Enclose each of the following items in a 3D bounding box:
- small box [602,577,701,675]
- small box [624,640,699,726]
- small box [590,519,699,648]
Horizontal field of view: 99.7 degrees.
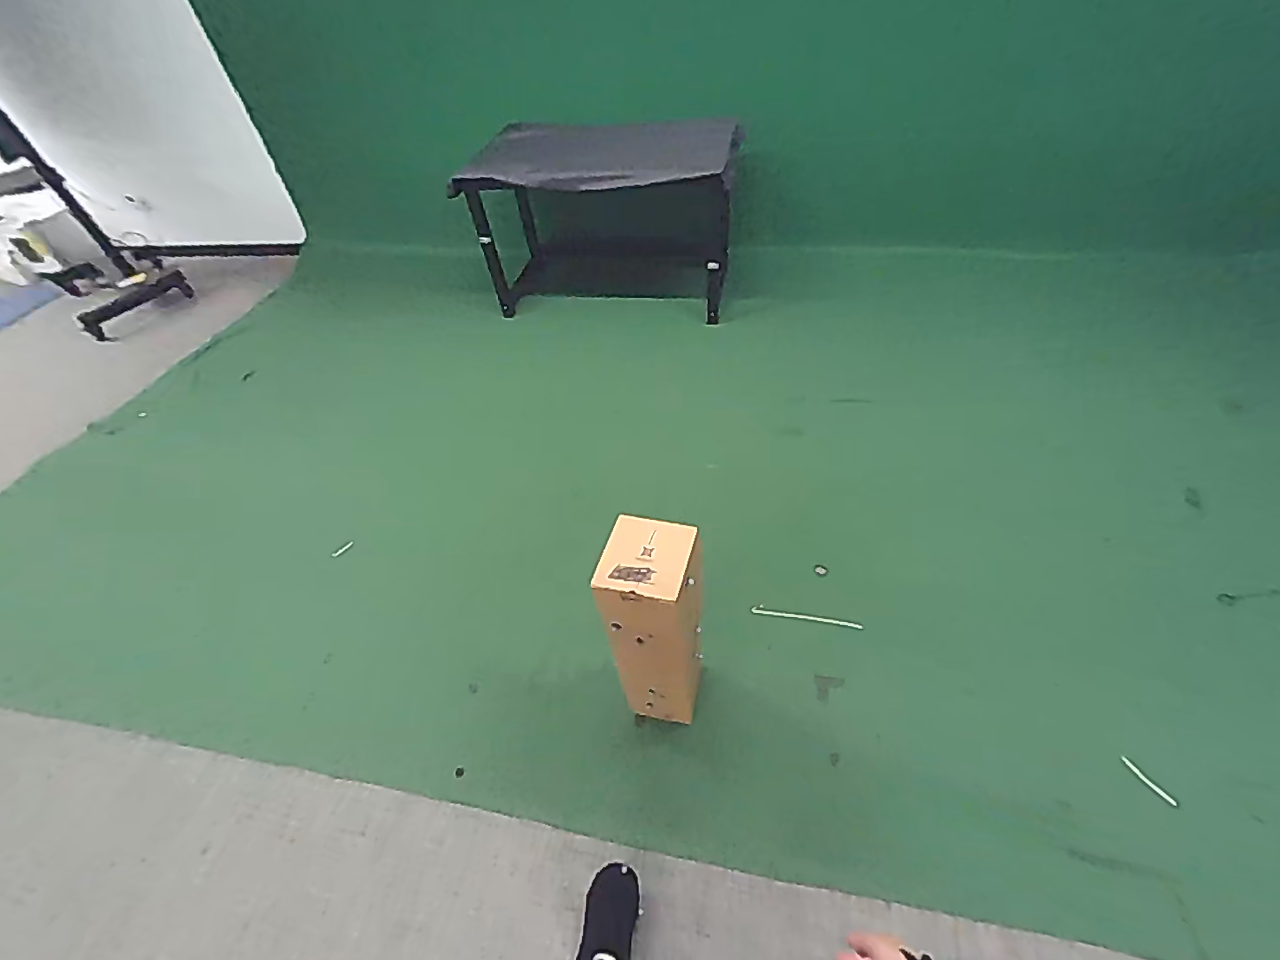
[{"bbox_3d":[0.034,0.309,1.195,0.179,0.176,0.168,8,49,15],"label":"small box"},{"bbox_3d":[0.065,0.530,1.437,0.168,0.176,0.179,5,47,13],"label":"small box"},{"bbox_3d":[0.020,0.206,1.069,0.168,0.176,0.179,9,48,16],"label":"small box"}]
